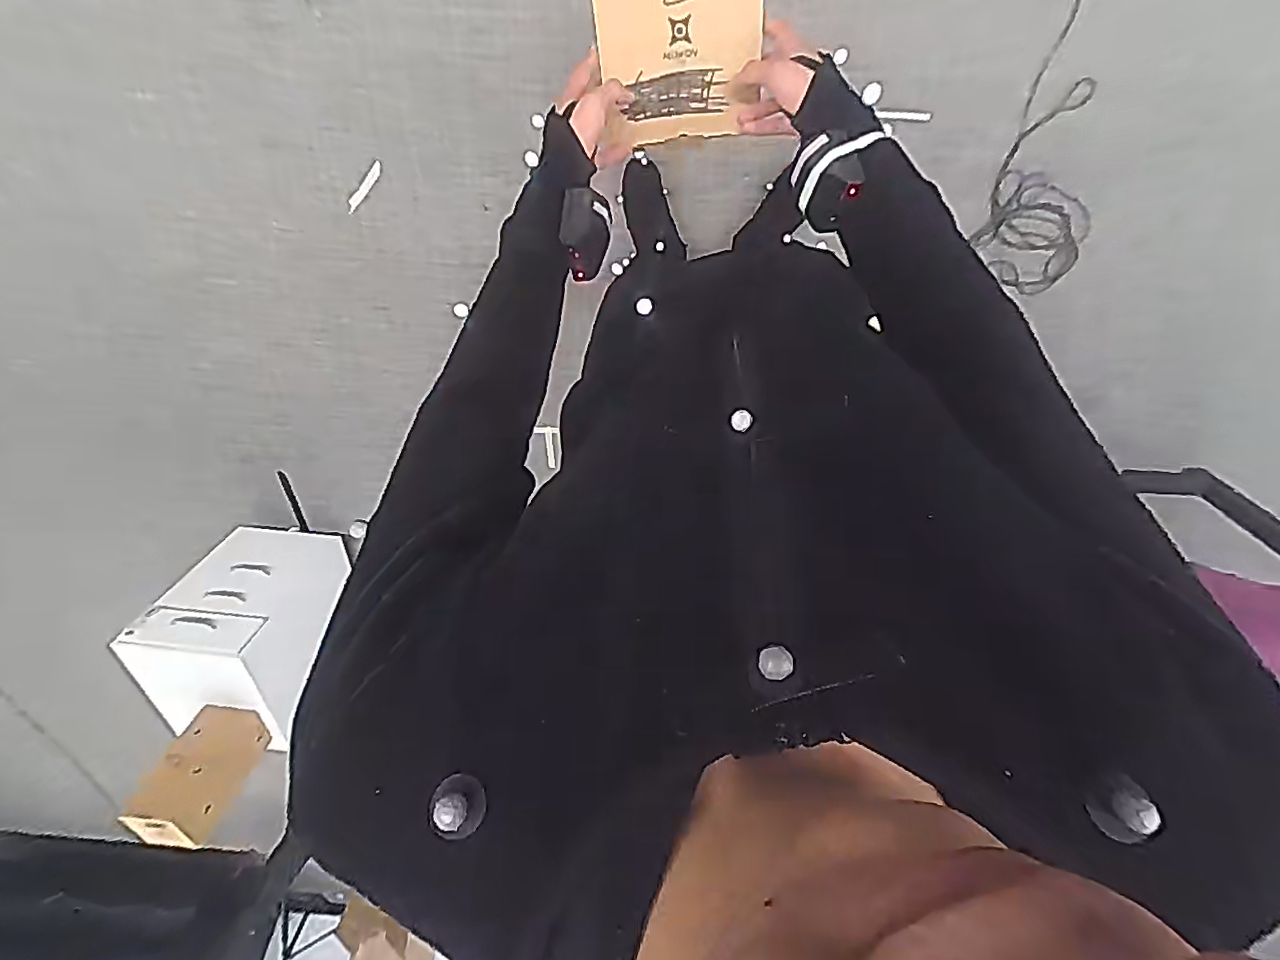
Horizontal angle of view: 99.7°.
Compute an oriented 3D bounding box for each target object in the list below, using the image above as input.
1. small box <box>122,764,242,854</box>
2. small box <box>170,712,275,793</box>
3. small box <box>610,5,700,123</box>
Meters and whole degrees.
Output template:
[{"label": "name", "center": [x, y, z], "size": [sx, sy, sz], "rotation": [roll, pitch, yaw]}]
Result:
[{"label": "small box", "center": [-1.320, 0.954, 1.573], "size": [0.168, 0.176, 0.179], "rotation": [3, 126, 4]}, {"label": "small box", "center": [-1.307, 0.857, 1.705], "size": [0.179, 0.176, 0.168], "rotation": [6, 124, 1]}, {"label": "small box", "center": [0.031, -0.879, 1.158], "size": [0.168, 0.176, 0.179], "rotation": [7, 124, 1]}]
